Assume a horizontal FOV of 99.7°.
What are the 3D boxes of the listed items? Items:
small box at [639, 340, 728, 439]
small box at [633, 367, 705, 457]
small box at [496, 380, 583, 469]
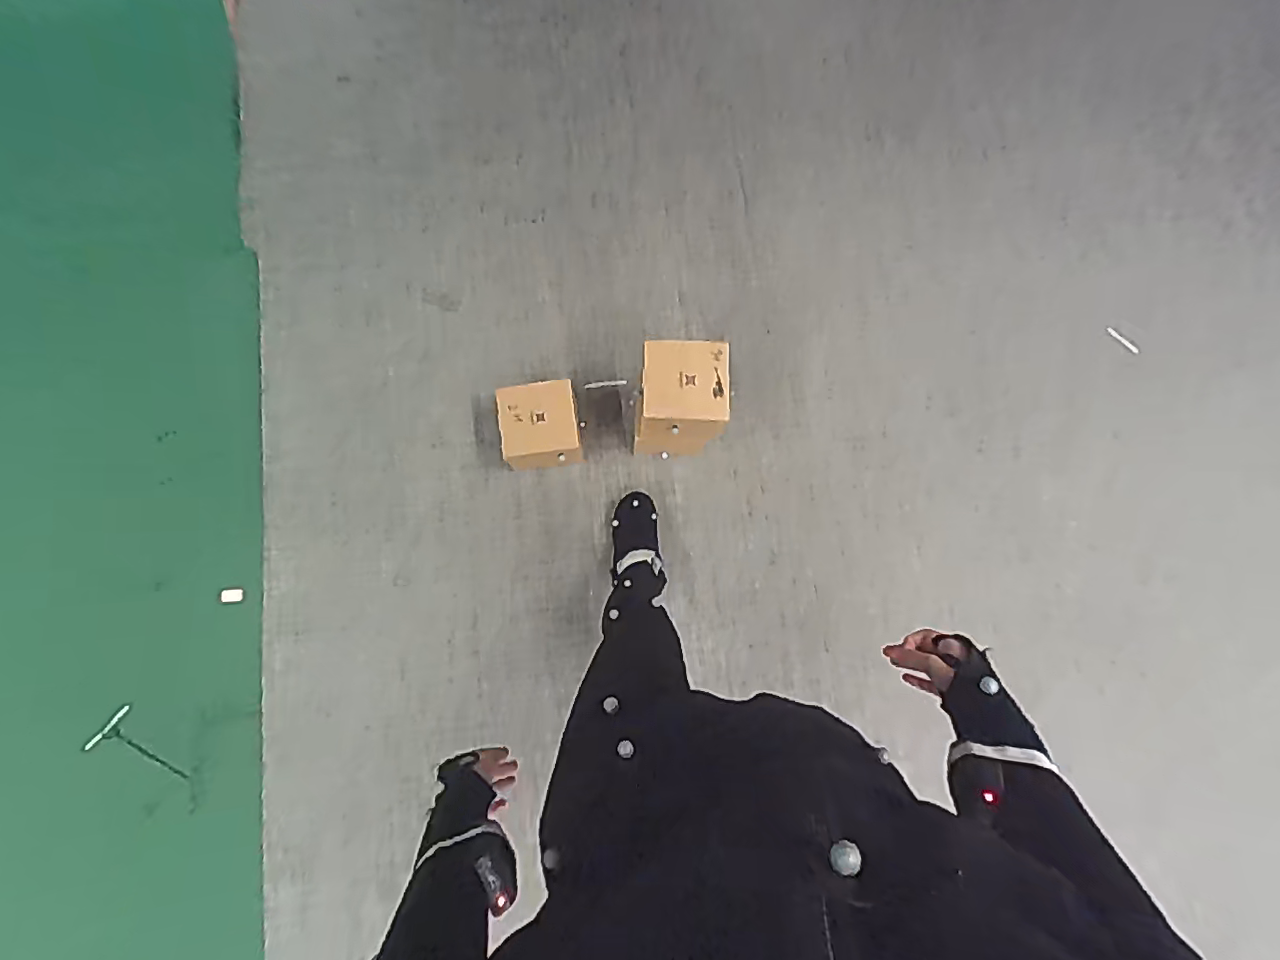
[{"bbox_3d":[0.089,-0.188,1.160,0.179,0.176,0.168,2,81,0],"label":"small box"},{"bbox_3d":[0.068,-0.163,1.322,0.168,0.176,0.179,2,81,-1],"label":"small box"},{"bbox_3d":[-0.235,-0.129,1.306,0.179,0.176,0.168,-9,81,-2],"label":"small box"}]
